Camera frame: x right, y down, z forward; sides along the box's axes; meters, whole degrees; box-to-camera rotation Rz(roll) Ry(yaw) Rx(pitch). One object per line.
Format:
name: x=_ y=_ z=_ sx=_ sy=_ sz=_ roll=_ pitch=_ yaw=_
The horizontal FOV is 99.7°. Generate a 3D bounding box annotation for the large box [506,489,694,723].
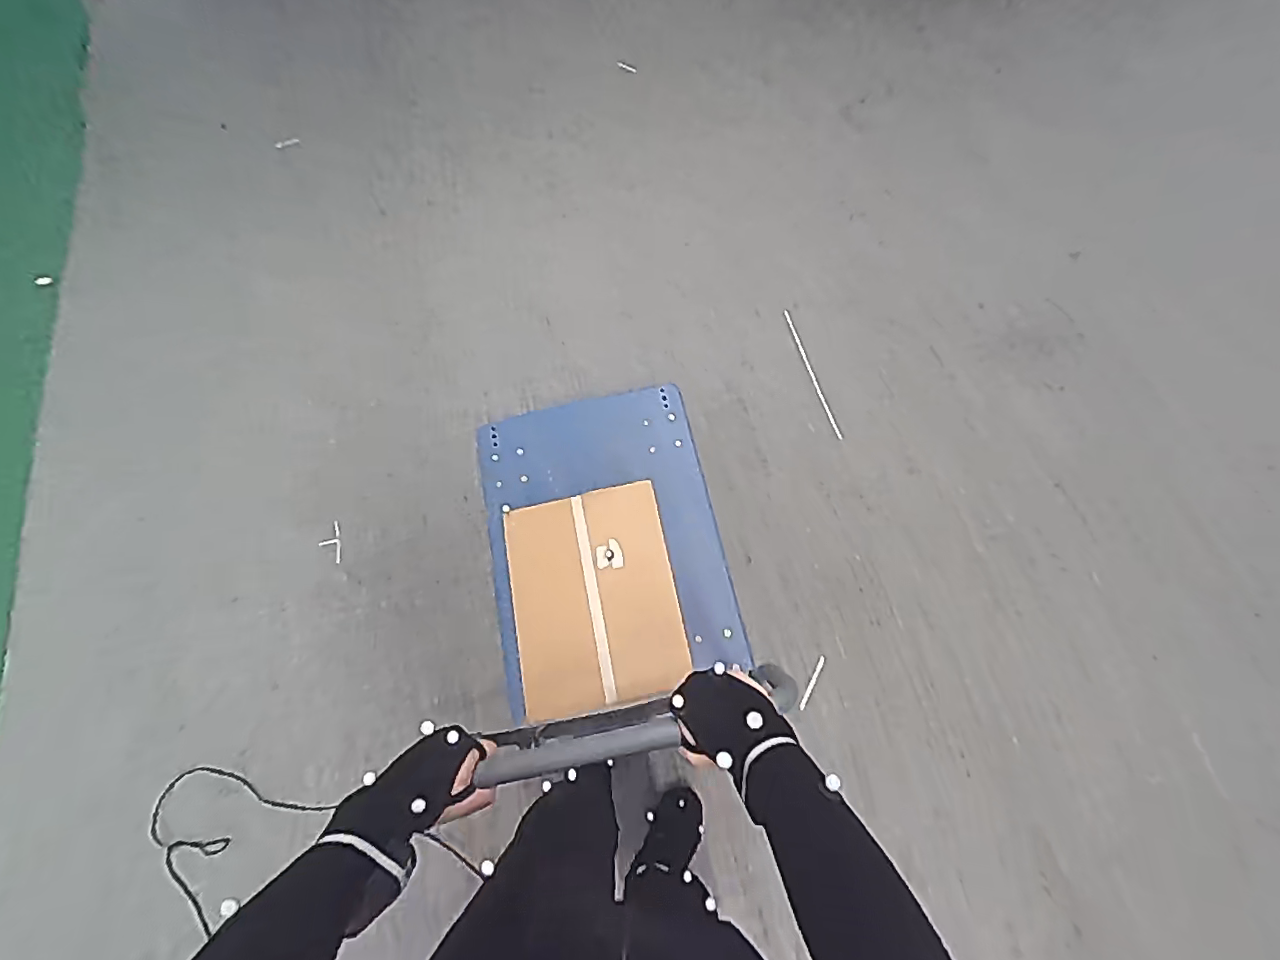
large box: x=-0.076 y=0.283 z=1.190 sx=0.320 sy=0.320 sz=0.408 roll=-12 pitch=69 yaw=1
